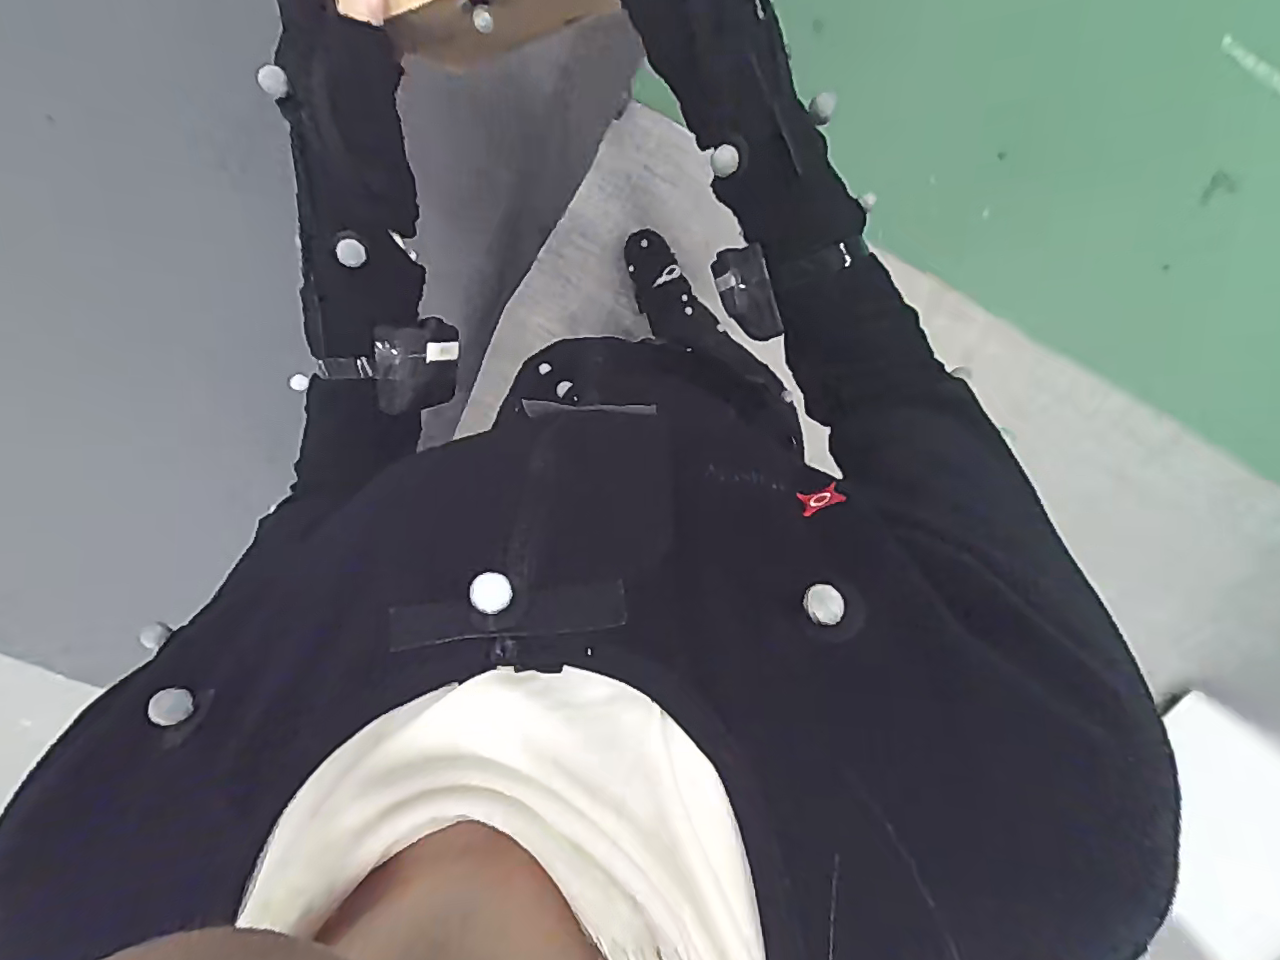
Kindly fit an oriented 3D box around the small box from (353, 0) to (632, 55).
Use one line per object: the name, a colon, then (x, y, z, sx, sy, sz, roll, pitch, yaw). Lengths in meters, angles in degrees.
small box: (-0.088, -0.369, 0.293, 0.168, 0.176, 0.179, -12, 121, 9)
